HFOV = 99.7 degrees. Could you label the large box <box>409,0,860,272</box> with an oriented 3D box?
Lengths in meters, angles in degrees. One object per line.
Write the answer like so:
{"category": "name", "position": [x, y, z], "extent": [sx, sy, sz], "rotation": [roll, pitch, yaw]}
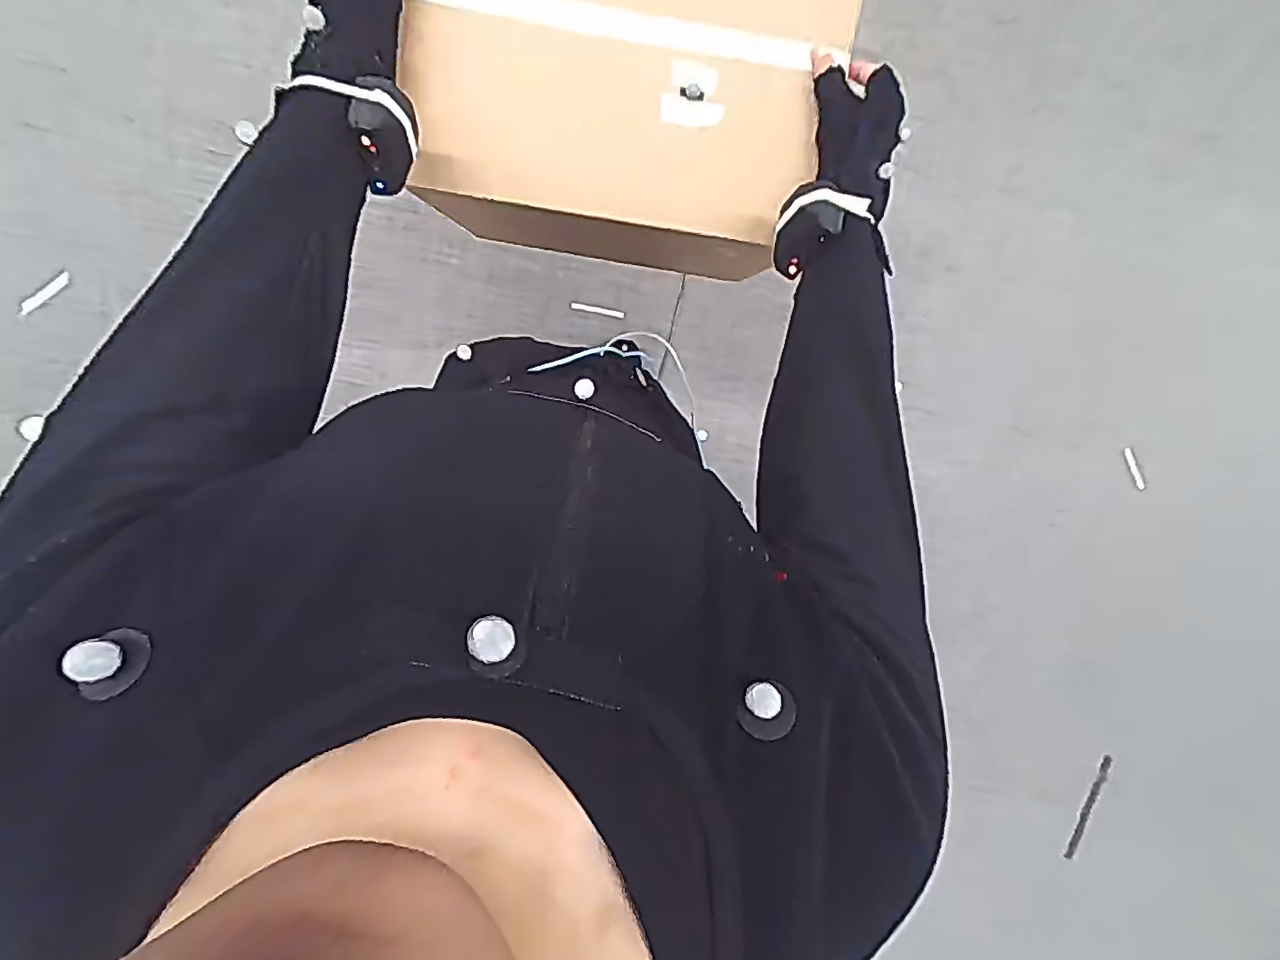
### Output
{"category": "large box", "position": [-0.011, -0.448, 0.632], "extent": [0.408, 0.320, 0.320], "rotation": [8, 106, -4]}
